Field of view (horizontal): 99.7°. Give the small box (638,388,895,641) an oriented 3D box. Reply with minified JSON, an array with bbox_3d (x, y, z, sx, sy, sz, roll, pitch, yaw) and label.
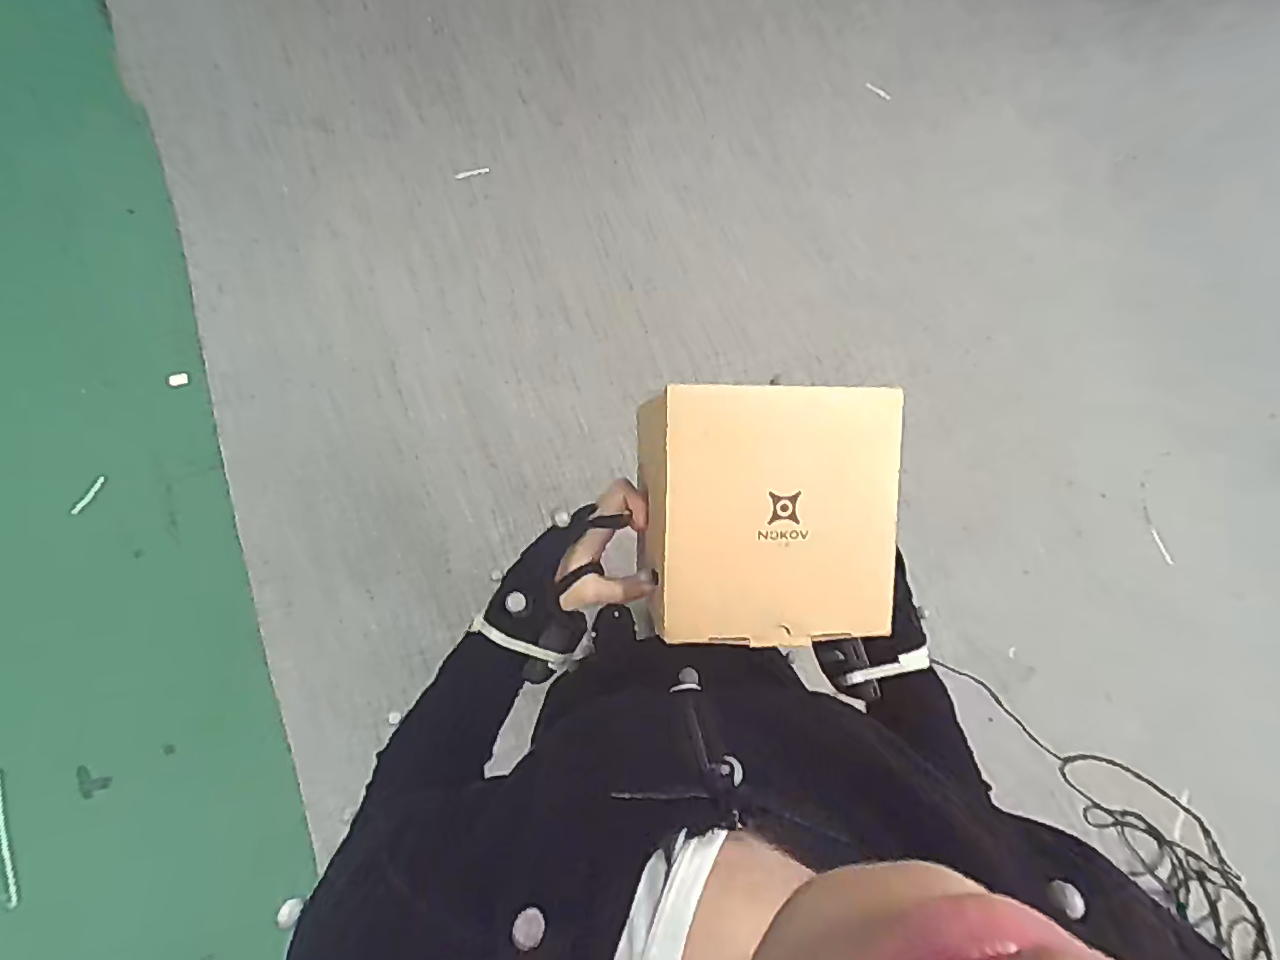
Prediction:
[{"bbox_3d":[0.088,0.018,0.455,0.168,0.176,0.179,-1,96,-7],"label":"small box"}]
